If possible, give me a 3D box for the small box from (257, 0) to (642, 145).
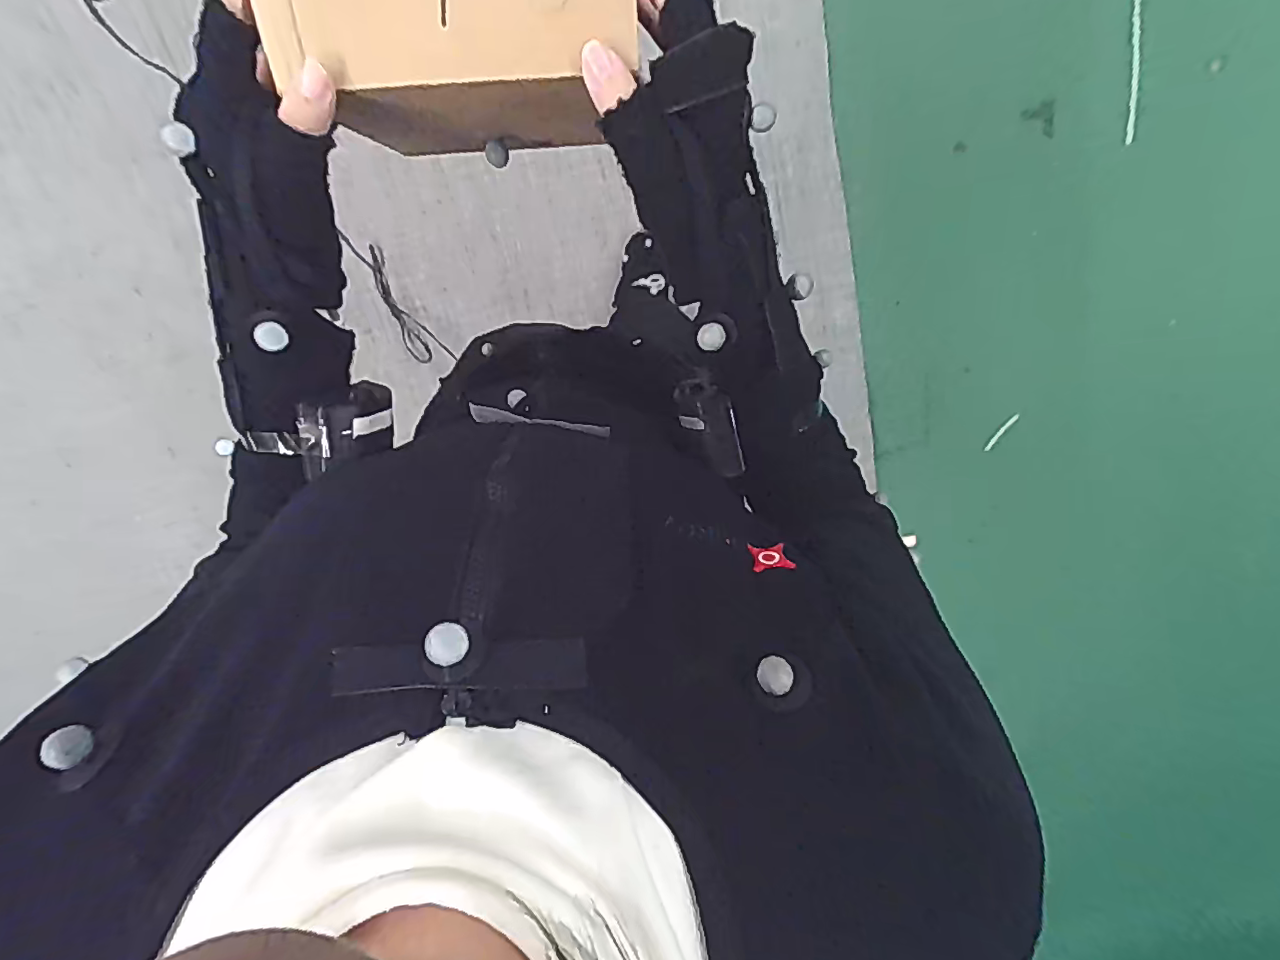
[{"bbox_3d":[-0.089,-0.297,0.283,0.168,0.176,0.179,-4,113,-1],"label":"small box"}]
